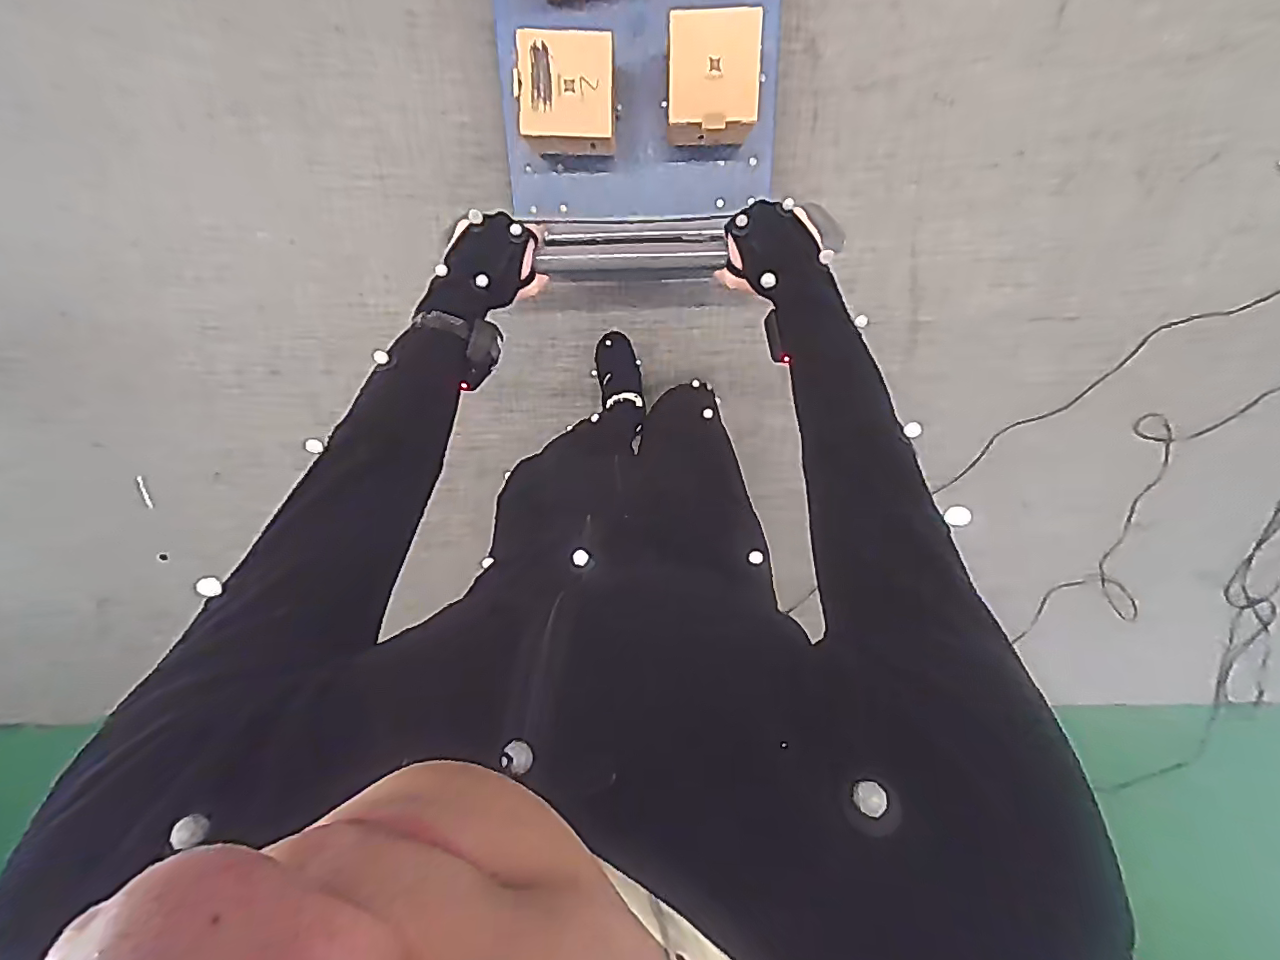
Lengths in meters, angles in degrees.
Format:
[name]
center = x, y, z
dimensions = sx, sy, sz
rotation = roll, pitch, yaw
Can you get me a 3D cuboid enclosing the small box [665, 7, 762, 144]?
[small box]
center = 0.135, -0.776, 1.054
dimensions = 0.168, 0.176, 0.179
rotation = -1, 112, 1
